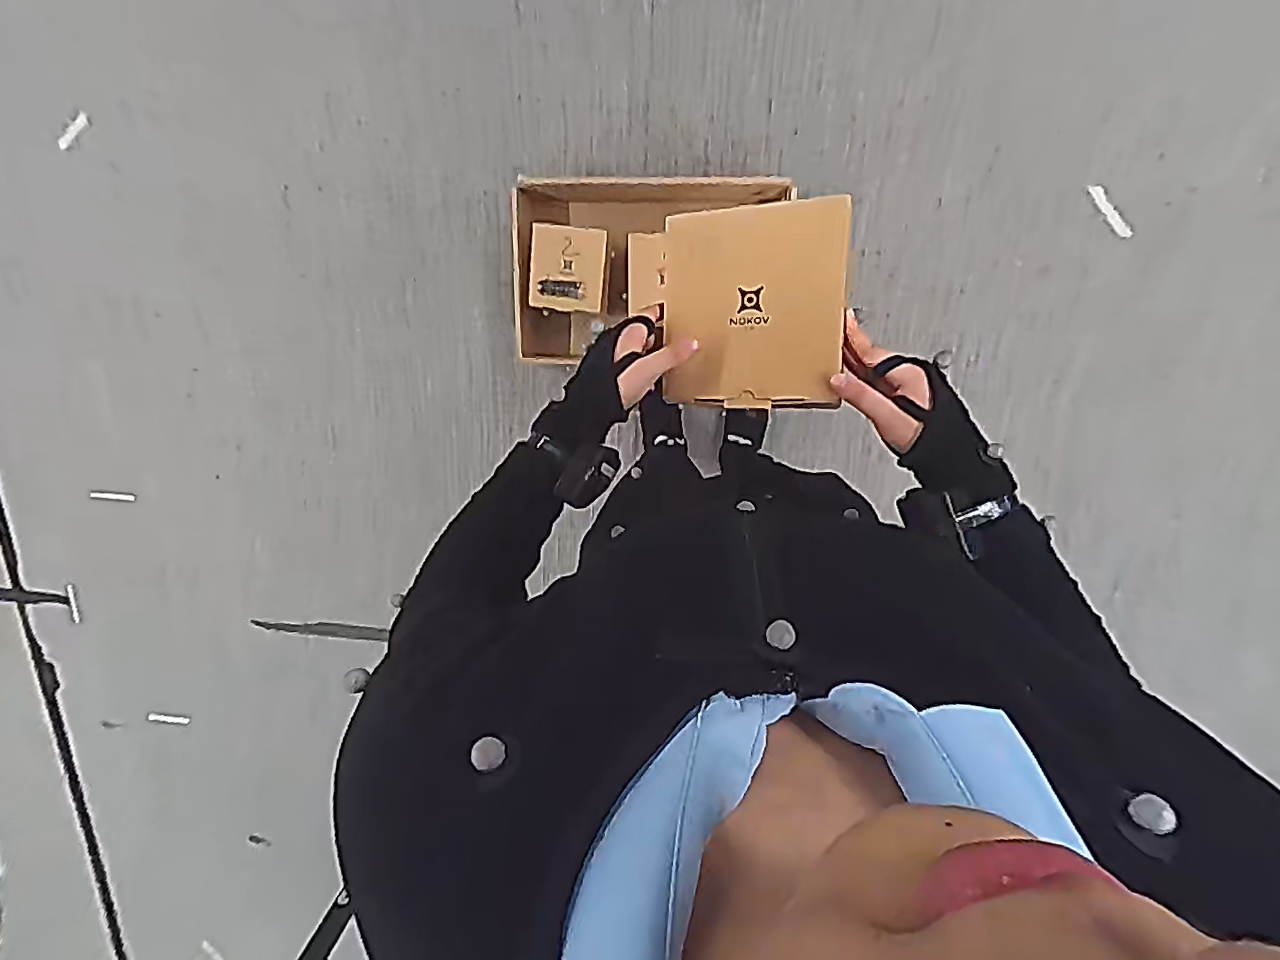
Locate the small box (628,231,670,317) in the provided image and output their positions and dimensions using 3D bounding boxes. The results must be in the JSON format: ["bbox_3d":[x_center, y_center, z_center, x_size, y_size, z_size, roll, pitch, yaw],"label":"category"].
[{"bbox_3d":[0.065,-0.470,1.252,0.168,0.176,0.179,2,105,5],"label":"small box"}]

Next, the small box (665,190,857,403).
[{"bbox_3d":[0.130,-0.171,0.564,0.168,0.176,0.179,3,98,20],"label":"small box"}]
